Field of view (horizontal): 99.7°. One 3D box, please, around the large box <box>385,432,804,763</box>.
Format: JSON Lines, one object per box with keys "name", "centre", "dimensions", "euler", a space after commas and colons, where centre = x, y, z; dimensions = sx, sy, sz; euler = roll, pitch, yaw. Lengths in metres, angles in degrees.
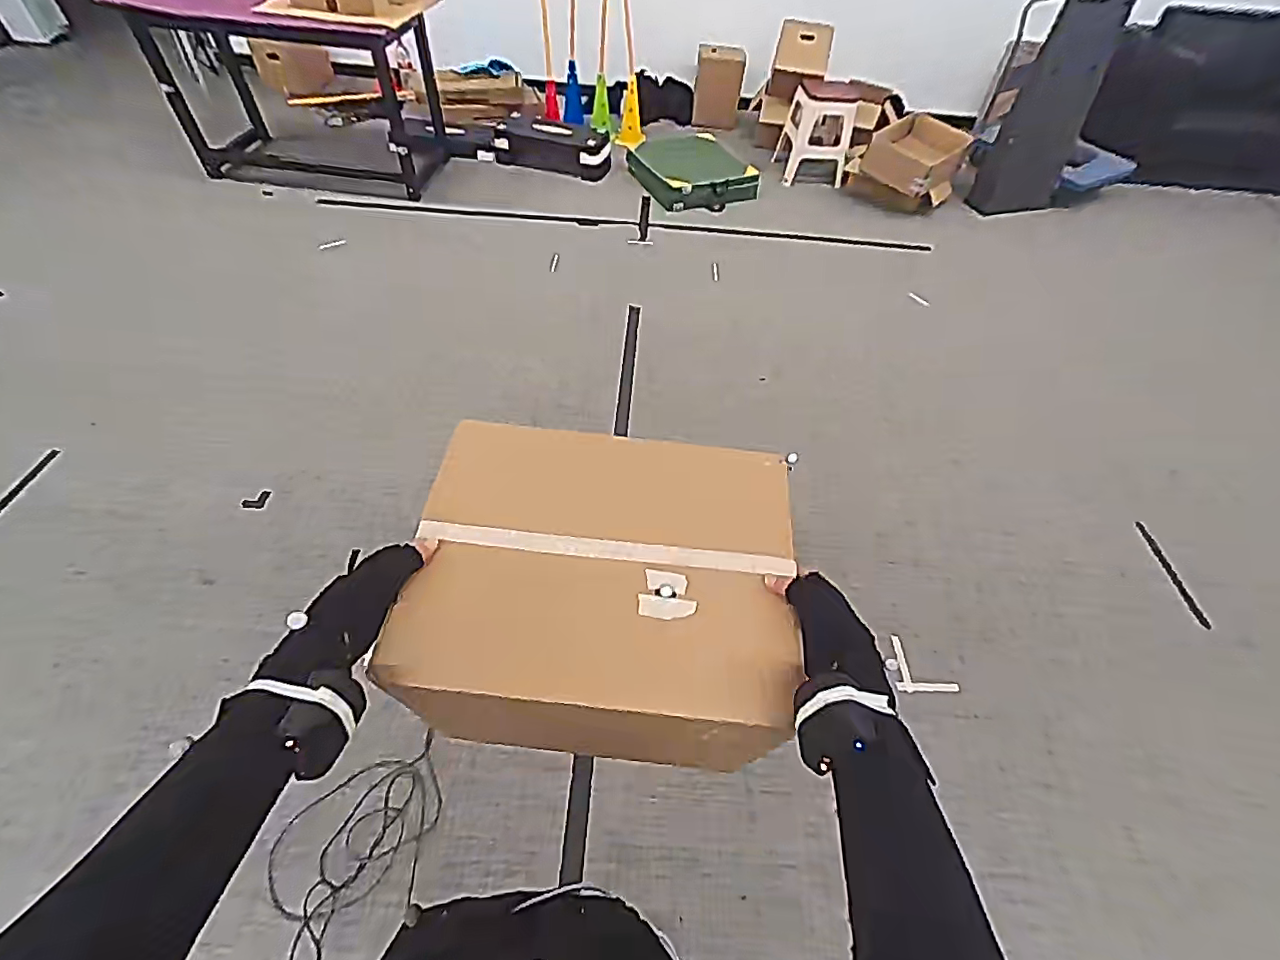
{"name": "large box", "centre": [-0.042, 0.166, 0.708], "dimensions": [0.408, 0.320, 0.320], "euler": [6, 56, 0]}
